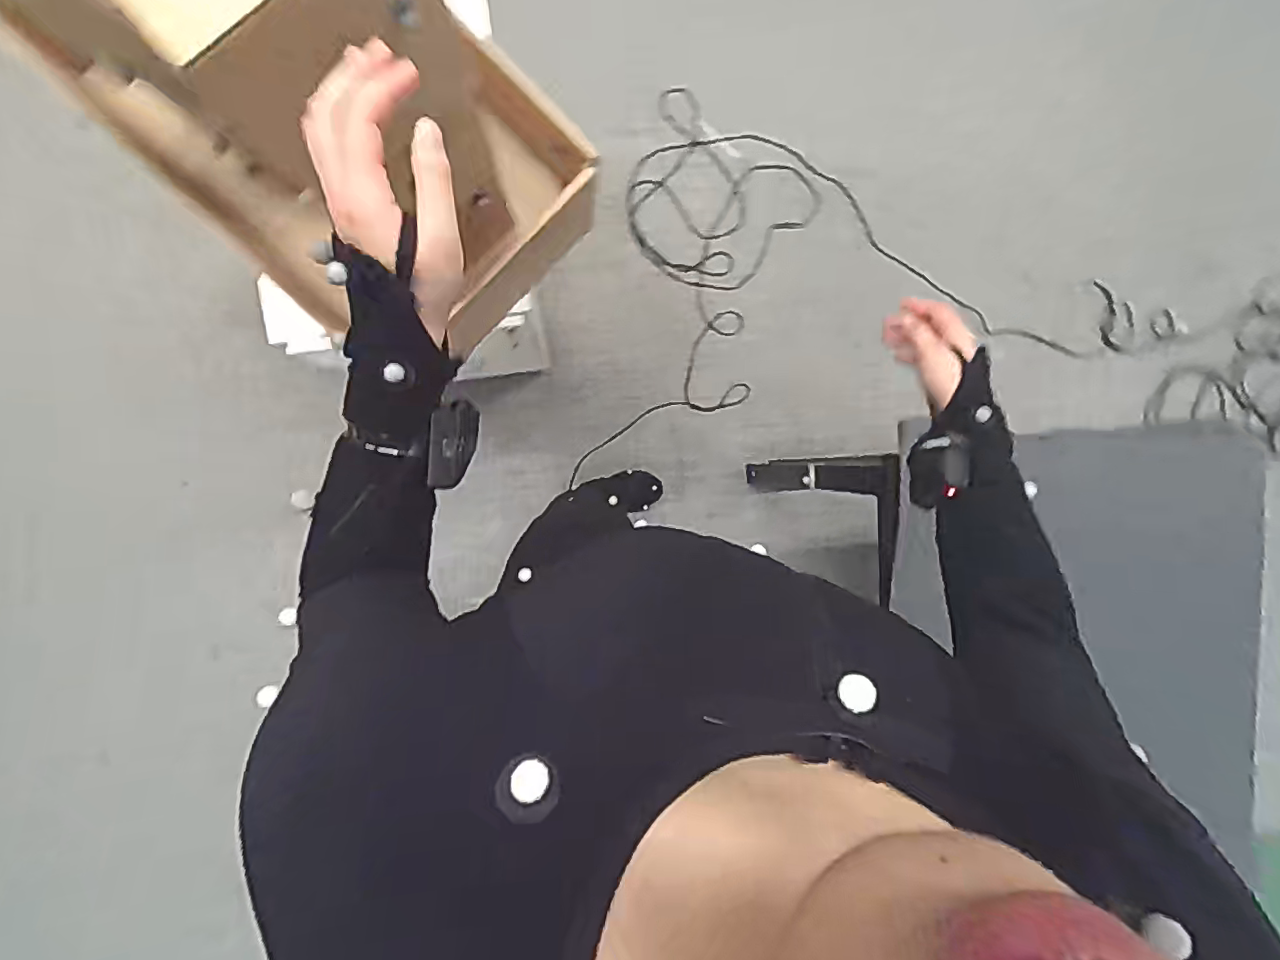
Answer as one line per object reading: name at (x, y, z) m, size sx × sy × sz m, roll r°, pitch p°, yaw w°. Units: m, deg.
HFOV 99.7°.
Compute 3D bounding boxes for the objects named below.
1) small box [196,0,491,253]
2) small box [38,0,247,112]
small box at (-0.274, -0.375, 0.554) m, size 0.179 × 0.176 × 0.168 m, roll -44°, pitch 94°, yaw -1°
small box at (-0.489, -0.519, 0.529) m, size 0.168 × 0.176 × 0.179 m, roll 19°, pitch 93°, yaw -6°
